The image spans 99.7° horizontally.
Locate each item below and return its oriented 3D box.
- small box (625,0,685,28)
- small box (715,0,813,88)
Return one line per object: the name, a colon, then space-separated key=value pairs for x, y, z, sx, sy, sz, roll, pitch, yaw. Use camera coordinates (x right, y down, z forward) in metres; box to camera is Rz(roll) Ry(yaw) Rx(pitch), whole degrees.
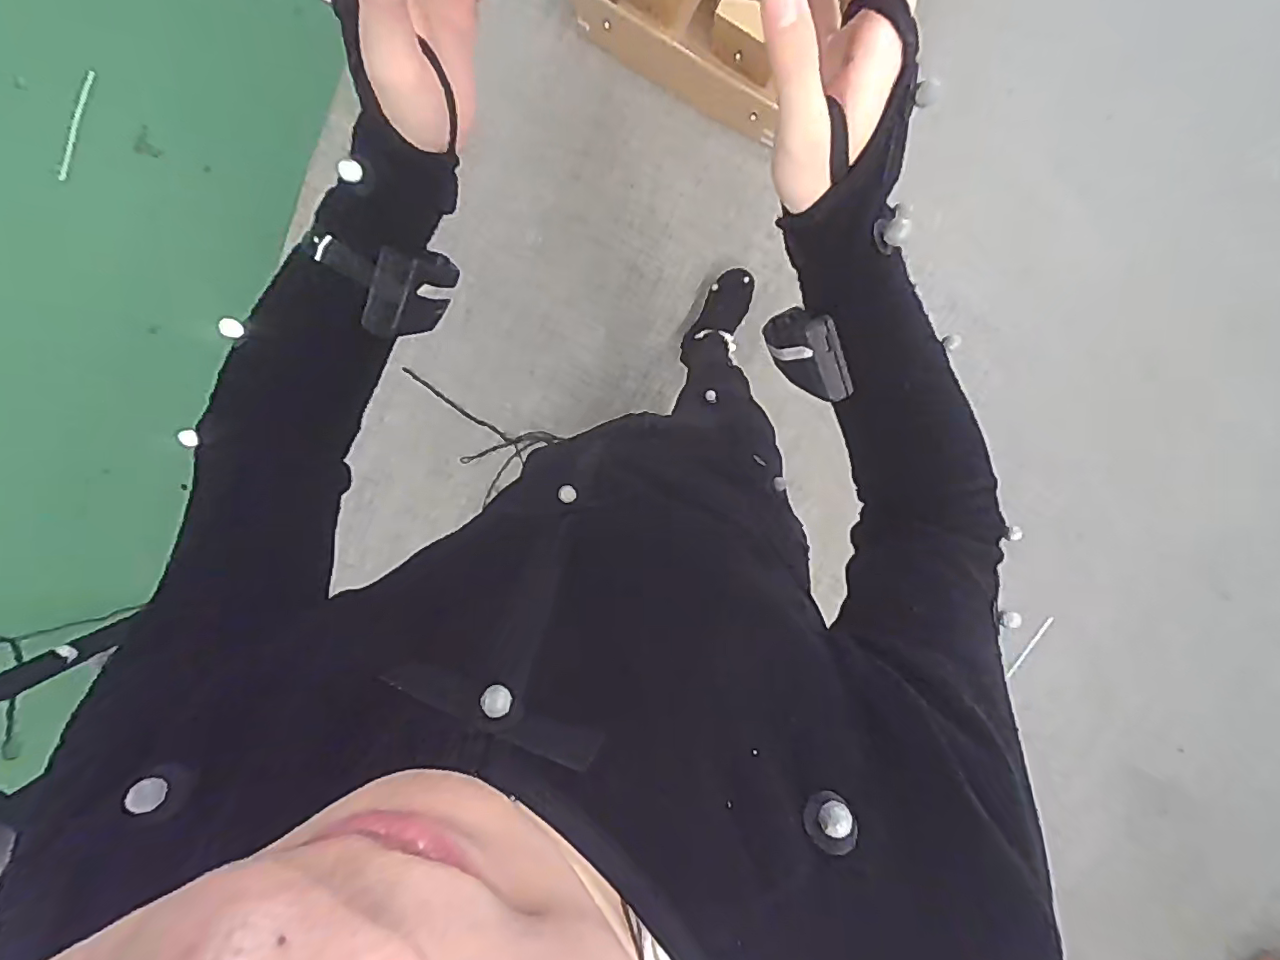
small box: x=0.043 y=-1.213 z=1.248 sx=0.168 sy=0.176 sz=0.179 roll=30 pitch=100 yaw=-3
small box: x=0.287 y=-1.072 z=1.260 sx=0.168 sy=0.176 sz=0.179 roll=32 pitch=101 yaw=-3
